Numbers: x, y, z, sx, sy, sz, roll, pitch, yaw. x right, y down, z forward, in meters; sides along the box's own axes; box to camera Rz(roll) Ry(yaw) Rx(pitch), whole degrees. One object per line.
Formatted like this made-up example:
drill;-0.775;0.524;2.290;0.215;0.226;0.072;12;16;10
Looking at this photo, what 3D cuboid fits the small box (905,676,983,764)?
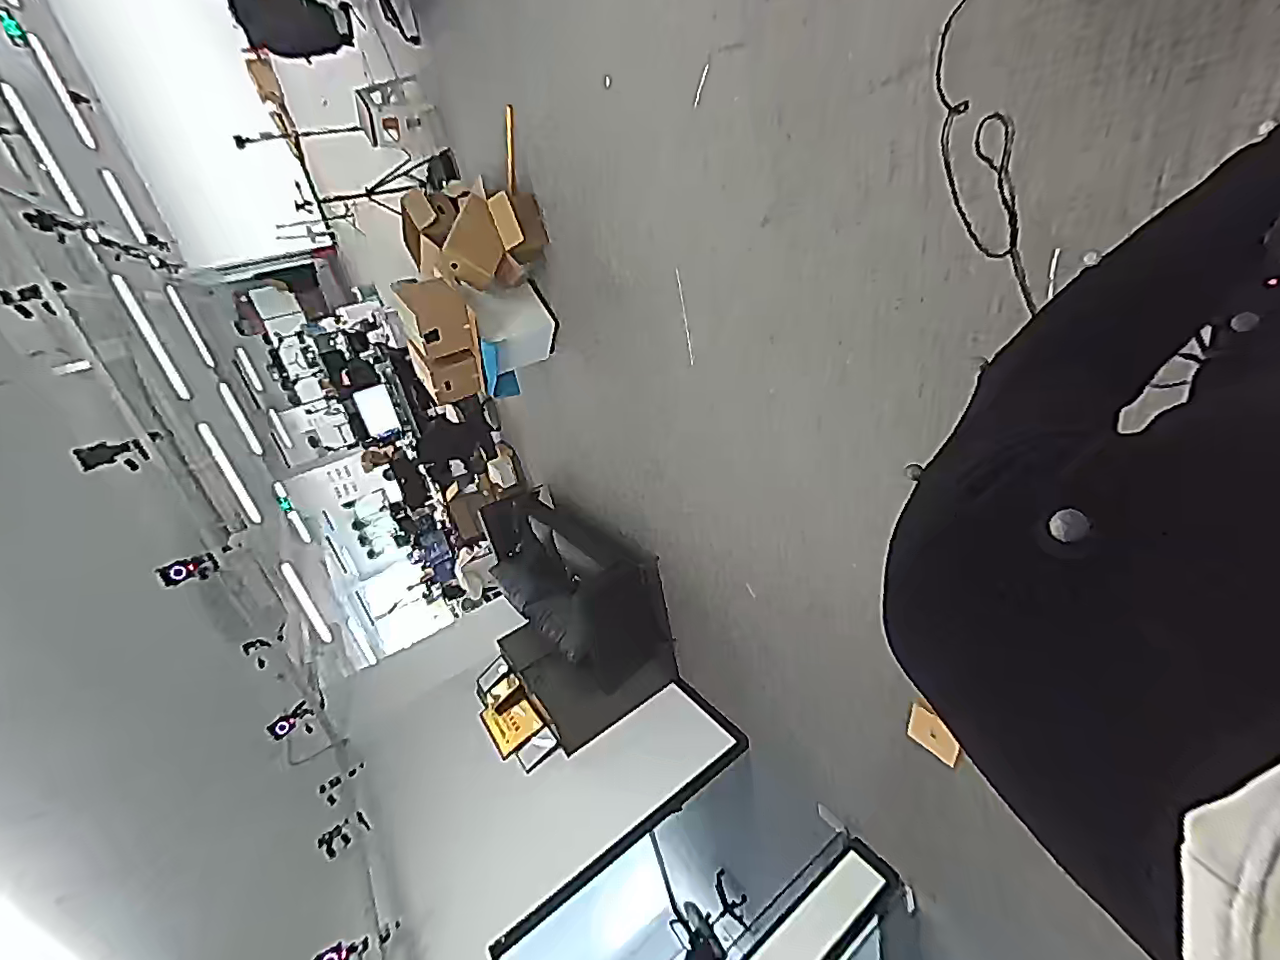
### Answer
small box;1.038;0.813;1.846;0.168;0.176;0.179;31;138;48
